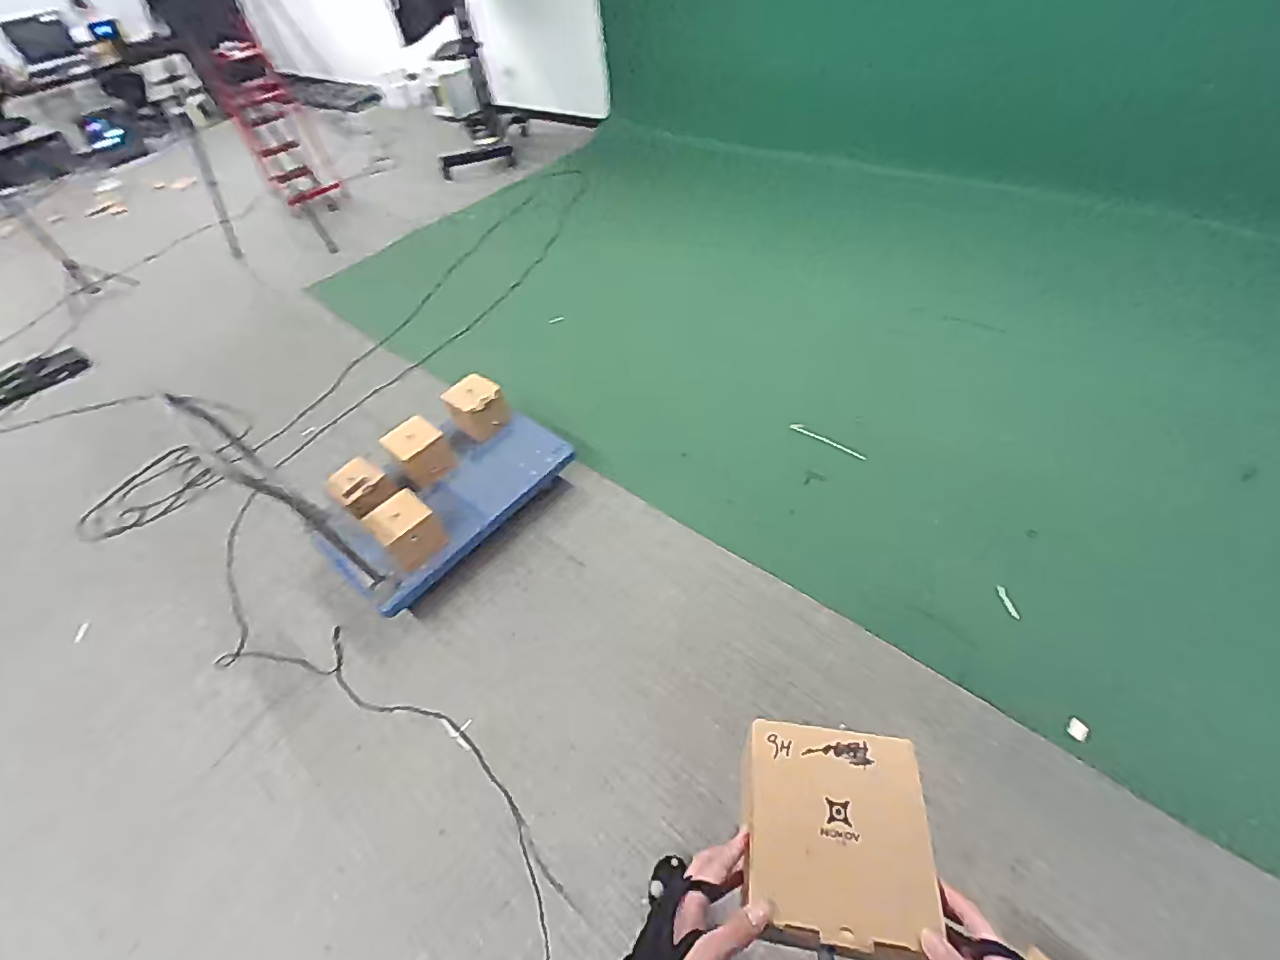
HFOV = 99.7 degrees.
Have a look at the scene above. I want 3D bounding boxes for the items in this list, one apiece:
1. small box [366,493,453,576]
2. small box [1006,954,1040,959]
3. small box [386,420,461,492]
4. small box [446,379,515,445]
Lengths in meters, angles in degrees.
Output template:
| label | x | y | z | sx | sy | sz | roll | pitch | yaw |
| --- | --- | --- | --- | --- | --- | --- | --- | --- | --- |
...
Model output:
| label | x | y | z | sx | sy | sz | roll | pitch | yaw |
| --- | --- | --- | --- | --- | --- | --- | --- | --- | --- |
| small box | -0.750 | 0.183 | 1.774 | 0.168 | 0.176 | 0.179 | 33 | 61 | 31 |
| small box | 0.778 | 1.064 | 1.036 | 0.168 | 0.176 | 0.179 | -40 | 56 | -22 |
| small box | -0.803 | -0.086 | 2.016 | 0.179 | 0.176 | 0.168 | 31 | 60 | 29 |
| small box | -0.625 | -0.265 | 2.138 | 0.179 | 0.176 | 0.168 | 30 | 61 | 29 |
